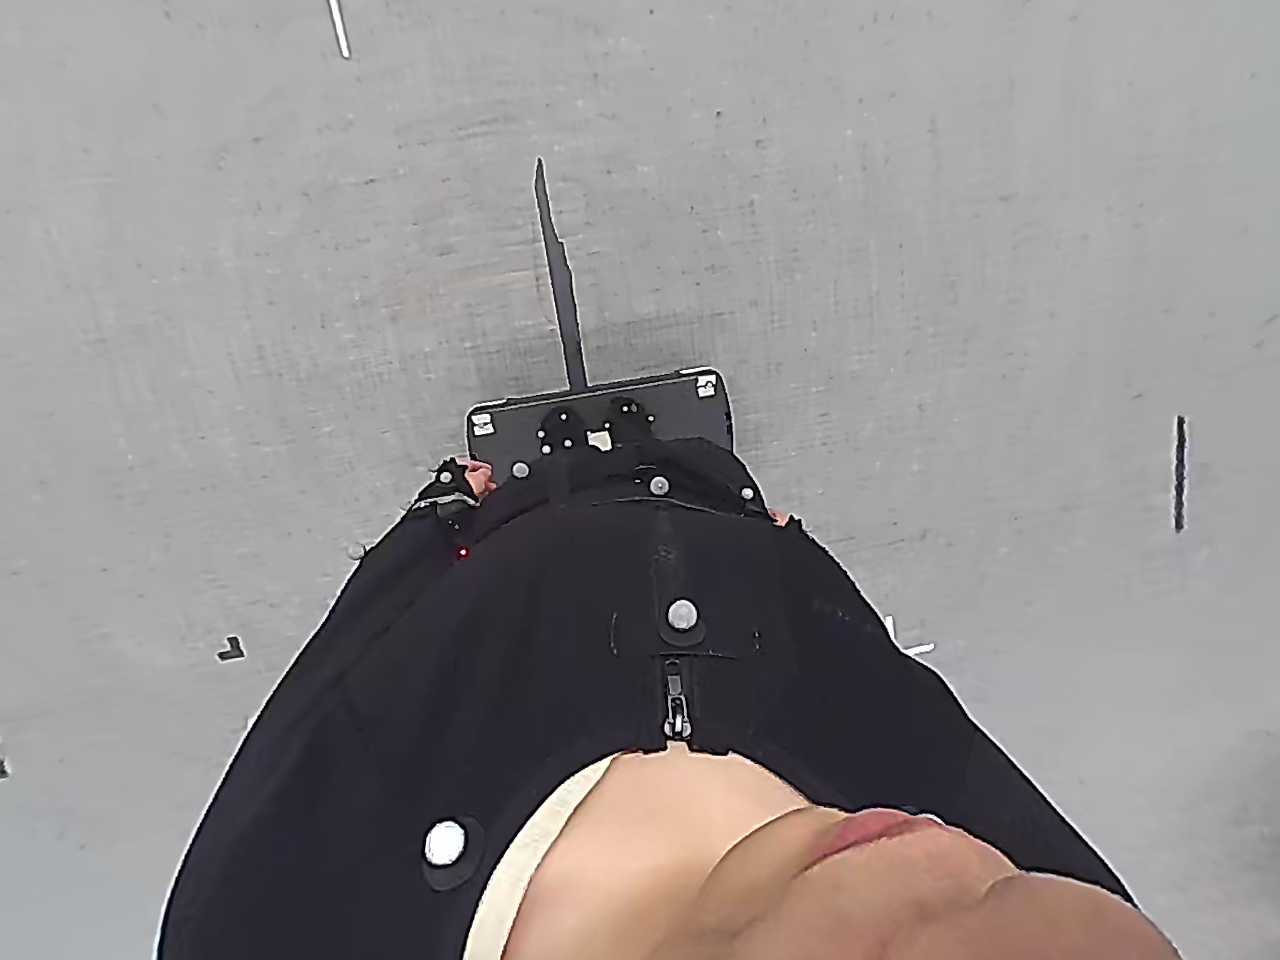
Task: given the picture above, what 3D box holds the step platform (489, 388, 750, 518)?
[{"bbox_3d":[-0.052,-0.078,1.452,0.684,0.204,0.286,-6,101,-5],"label":"step platform"}]
